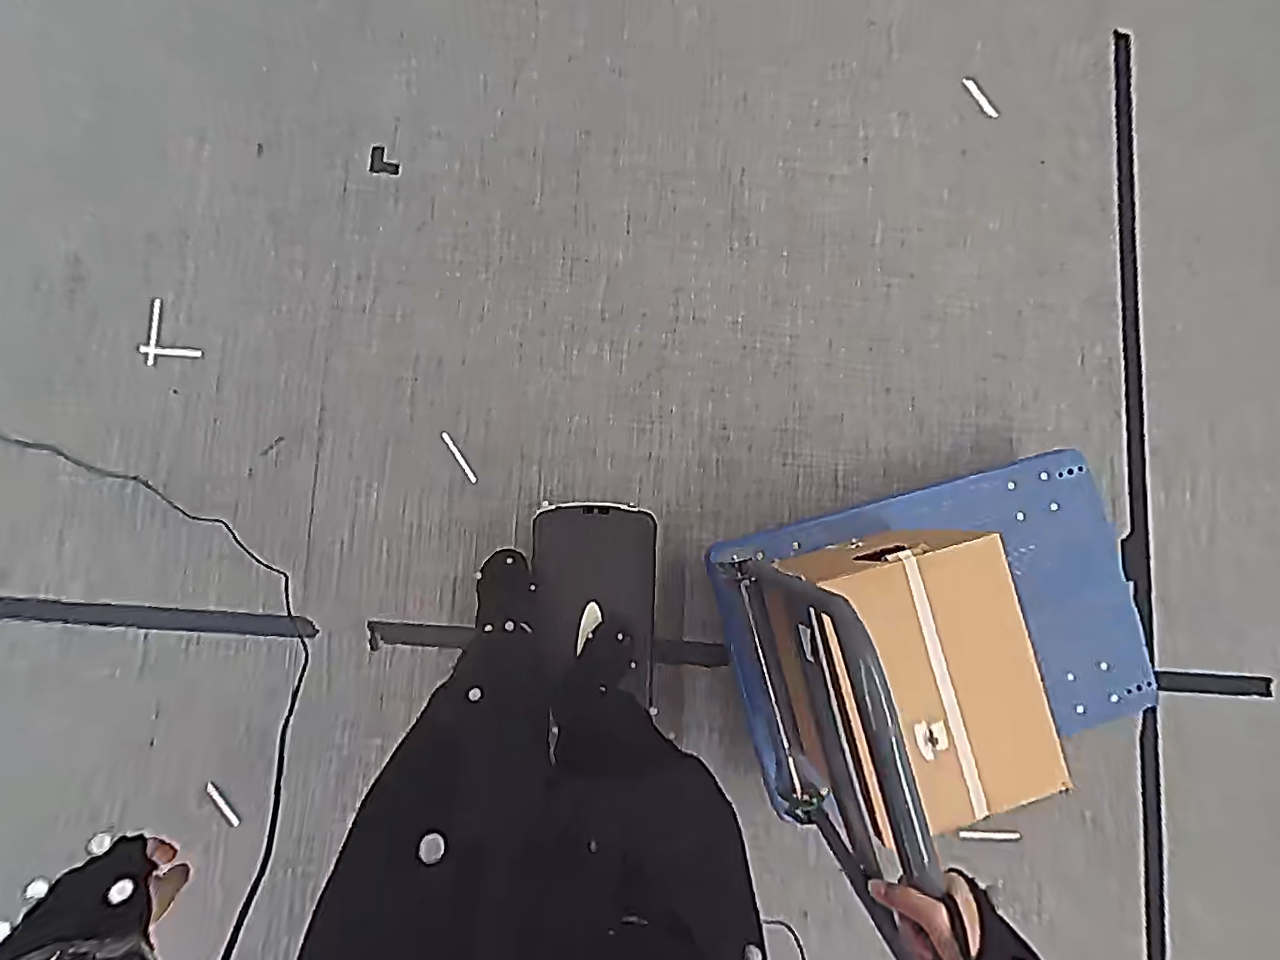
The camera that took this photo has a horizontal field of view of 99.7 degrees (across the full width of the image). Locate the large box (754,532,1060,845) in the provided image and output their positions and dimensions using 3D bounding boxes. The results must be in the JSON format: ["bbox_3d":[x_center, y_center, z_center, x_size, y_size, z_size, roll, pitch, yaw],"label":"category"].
[{"bbox_3d":[0.441,0.328,0.978,0.320,0.320,0.408,-14,87,-5],"label":"large box"}]
